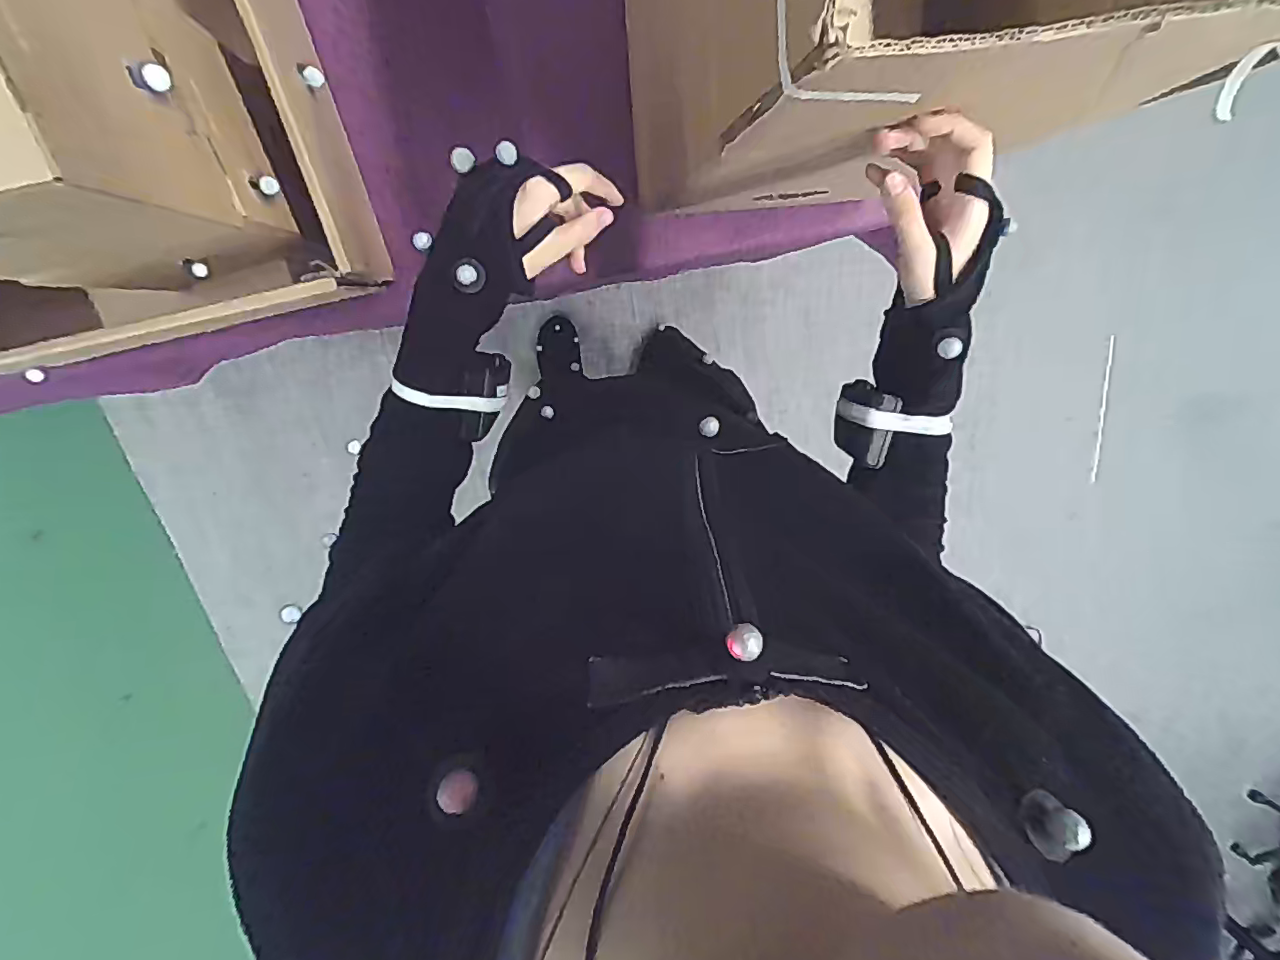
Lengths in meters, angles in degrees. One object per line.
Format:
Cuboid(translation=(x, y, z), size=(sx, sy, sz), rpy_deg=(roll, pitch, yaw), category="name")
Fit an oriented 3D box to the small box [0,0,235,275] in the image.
Cuboid(translation=(-0.395, -0.222, 0.311), size=(0.179, 0.176, 0.168), rpy_deg=(-14, 110, -5), category="small box")
